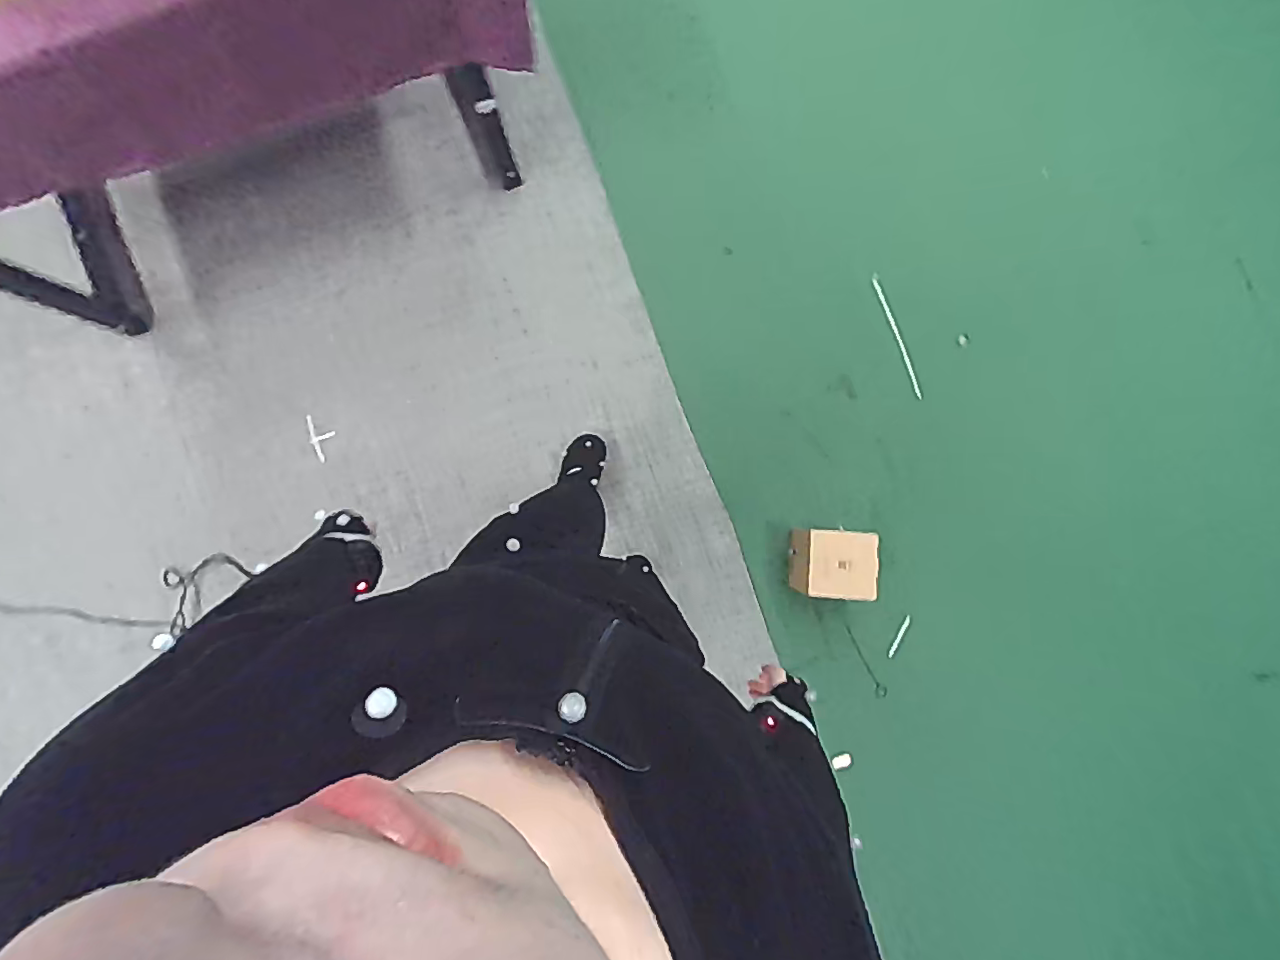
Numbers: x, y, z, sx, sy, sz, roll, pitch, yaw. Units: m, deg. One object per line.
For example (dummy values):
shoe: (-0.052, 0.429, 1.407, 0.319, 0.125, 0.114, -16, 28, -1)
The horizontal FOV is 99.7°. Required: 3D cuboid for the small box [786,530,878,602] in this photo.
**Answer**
small box: (0.502, 0.221, 1.427, 0.179, 0.176, 0.168, 5, 86, -1)
